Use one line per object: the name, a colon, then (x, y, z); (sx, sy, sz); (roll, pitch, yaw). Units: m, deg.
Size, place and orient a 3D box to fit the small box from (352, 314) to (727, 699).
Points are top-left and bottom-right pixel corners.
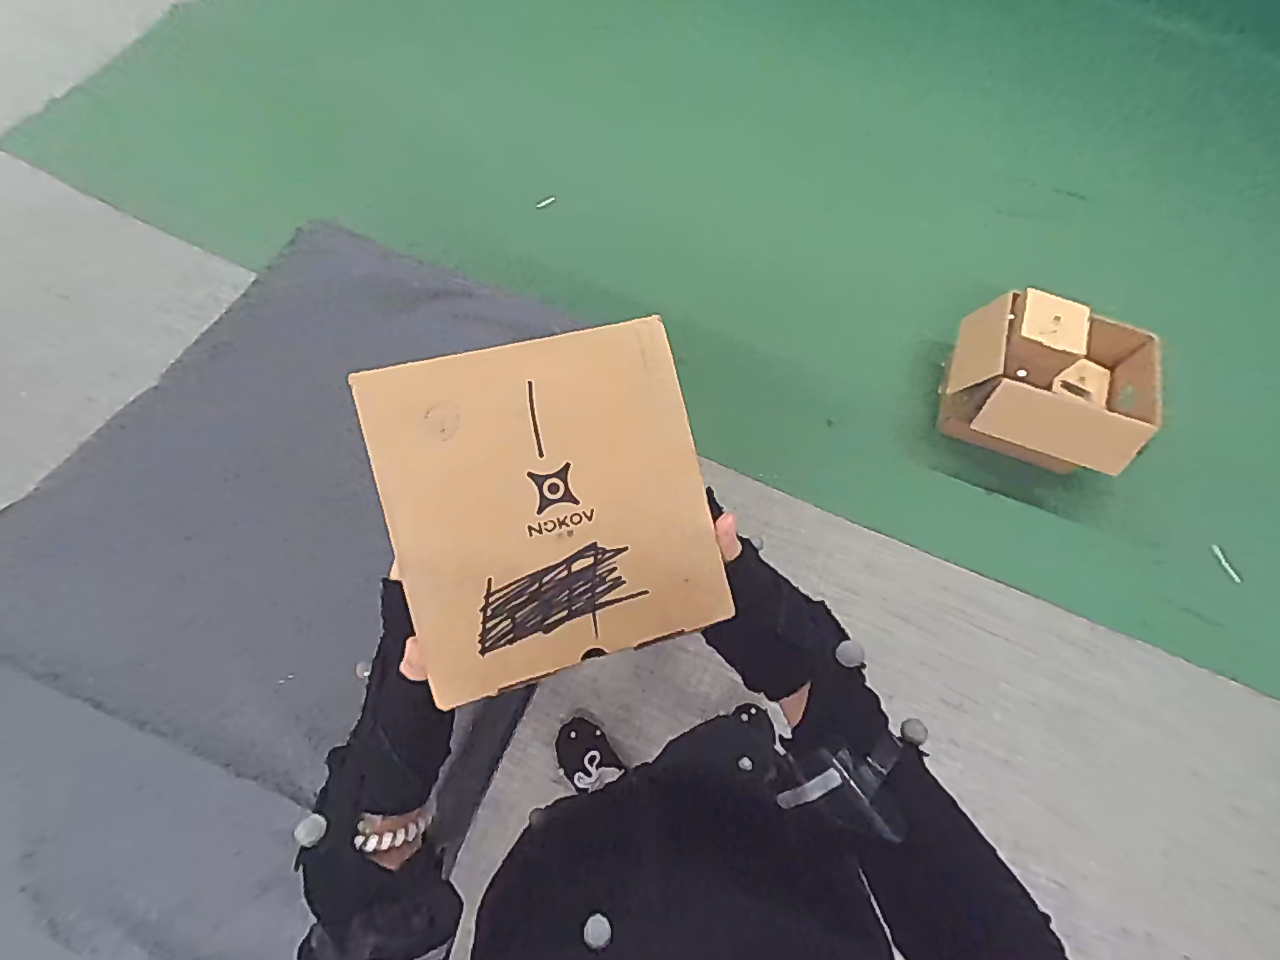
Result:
small box: (-0.062, 0.010, 0.363); (0.168, 0.176, 0.179); (-14, 92, -12)
